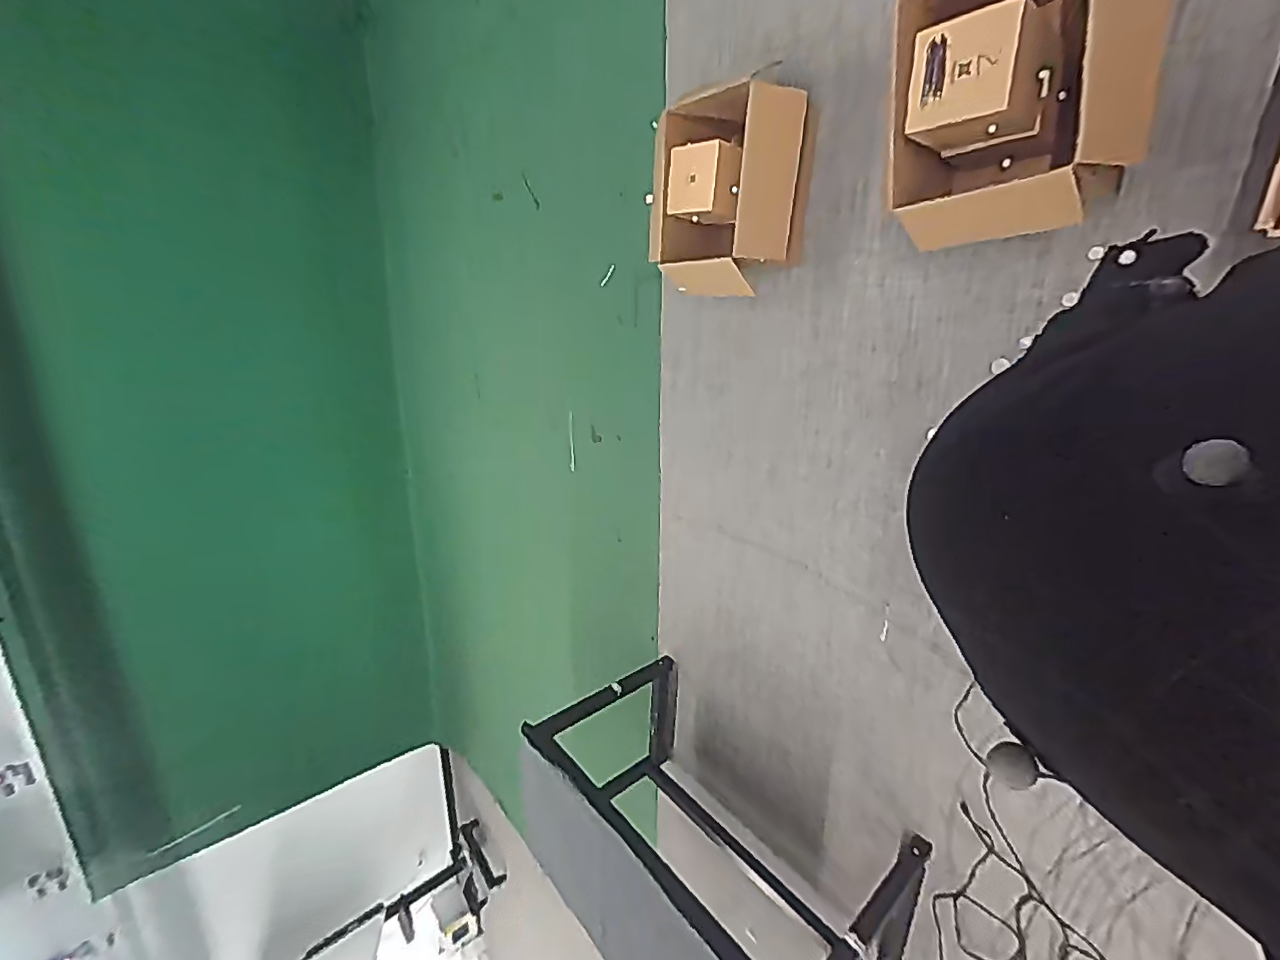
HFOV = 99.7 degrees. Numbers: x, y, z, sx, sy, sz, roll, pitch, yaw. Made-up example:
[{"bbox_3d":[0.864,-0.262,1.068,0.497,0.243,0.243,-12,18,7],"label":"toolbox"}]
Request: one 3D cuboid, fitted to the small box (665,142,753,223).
[{"bbox_3d":[0.192,-0.820,1.505,0.179,0.176,0.168,21,115,44],"label":"small box"}]
